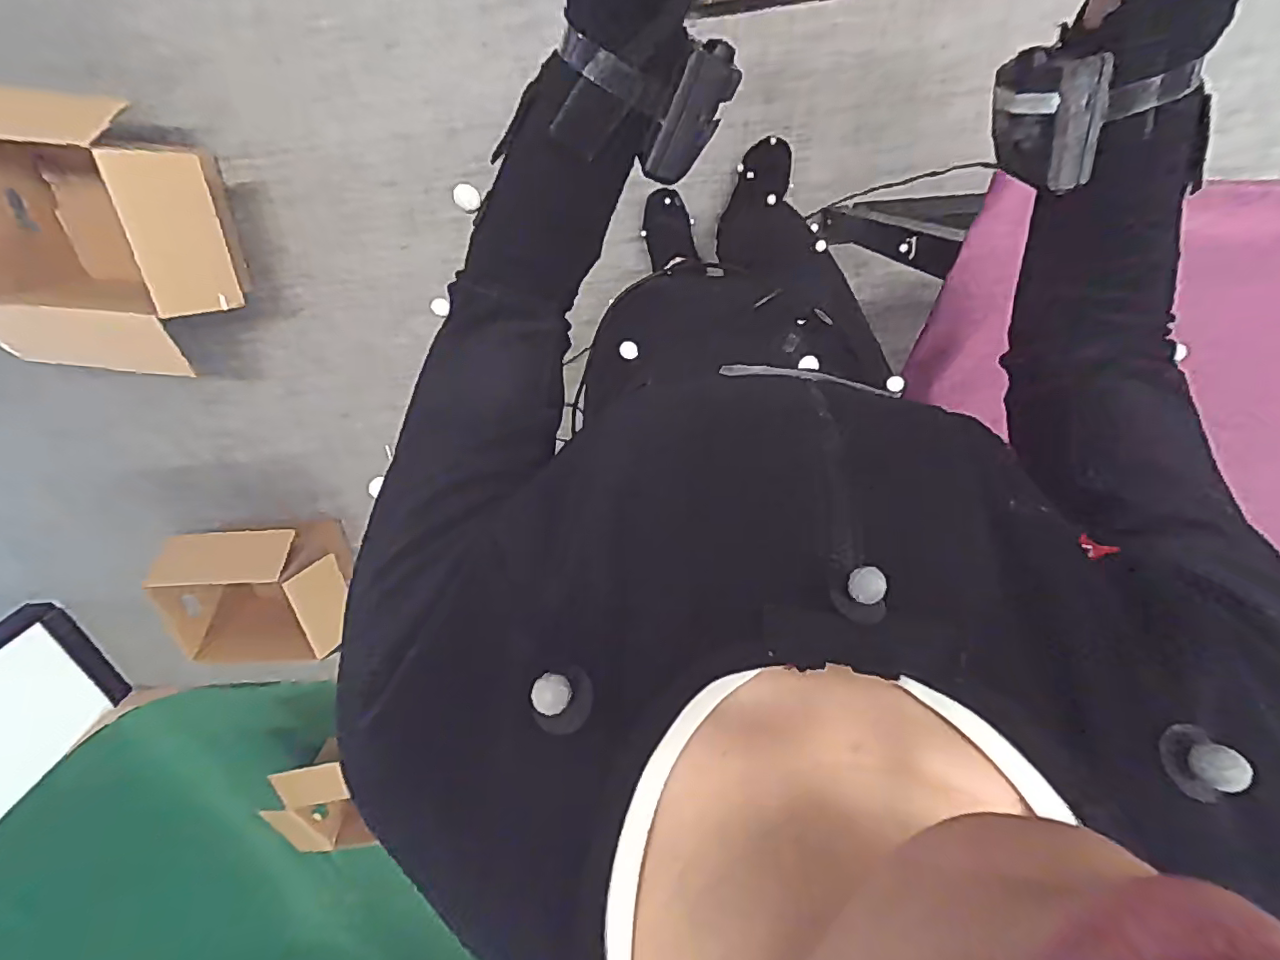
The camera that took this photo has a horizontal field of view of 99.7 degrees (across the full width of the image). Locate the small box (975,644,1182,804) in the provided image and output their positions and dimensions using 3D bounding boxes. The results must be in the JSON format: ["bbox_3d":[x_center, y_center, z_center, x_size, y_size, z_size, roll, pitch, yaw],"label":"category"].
[{"bbox_3d":[0.666,0.379,0.851,0.179,0.176,0.168,-5,119,5],"label":"small box"}]
